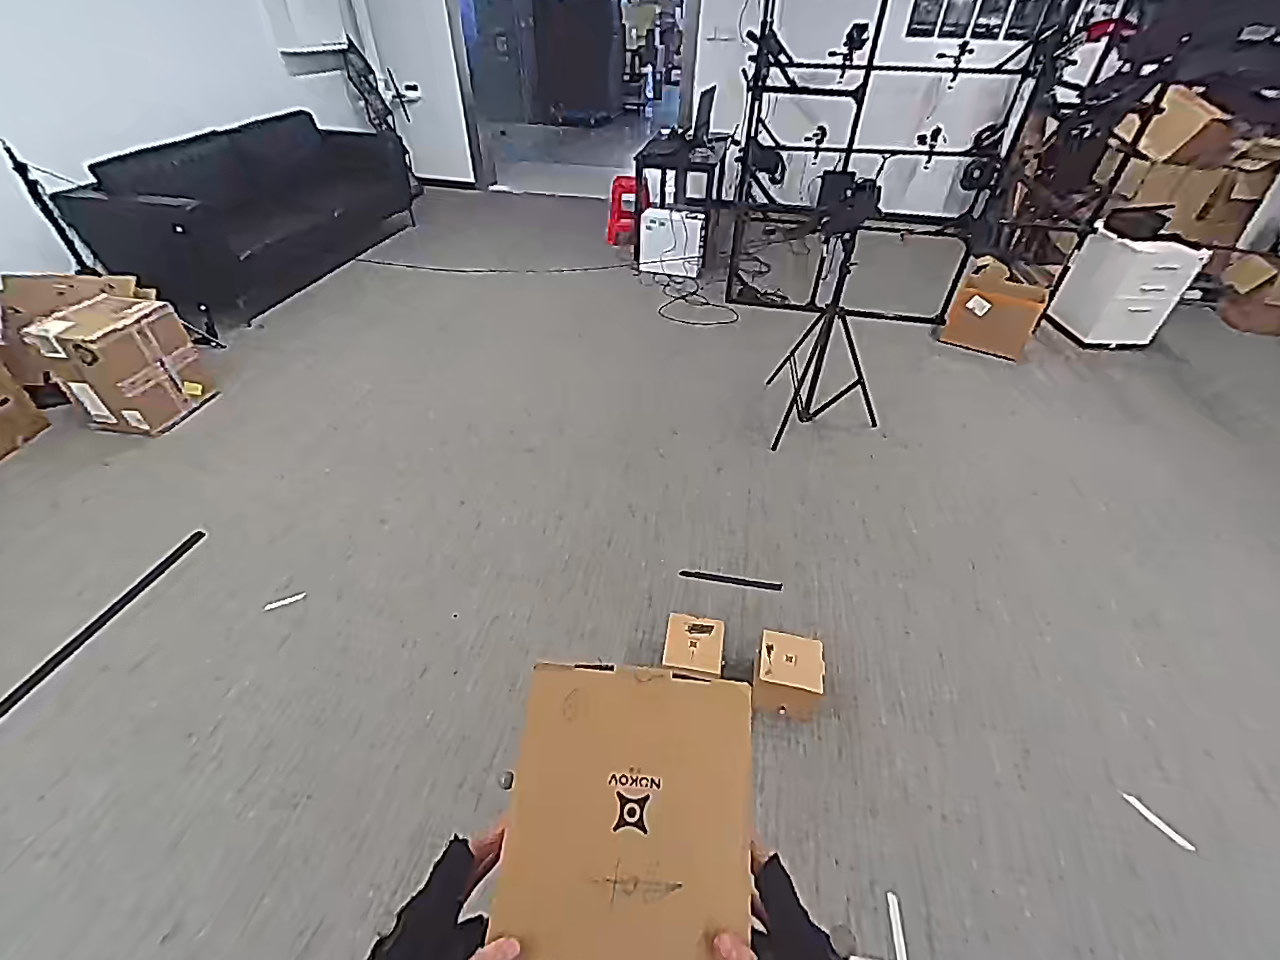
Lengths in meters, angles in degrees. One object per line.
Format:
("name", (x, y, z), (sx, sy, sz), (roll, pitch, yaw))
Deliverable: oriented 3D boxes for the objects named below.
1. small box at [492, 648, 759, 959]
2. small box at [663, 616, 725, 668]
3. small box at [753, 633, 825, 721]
("small box", (-0.009, 0.245, 0.434), (0.168, 0.176, 0.179), (7, 65, -2))
("small box", (0.156, 0.536, 1.609), (0.168, 0.176, 0.179), (7, 42, 8))
("small box", (0.427, 0.577, 1.572), (0.179, 0.176, 0.168), (11, 42, 9))
